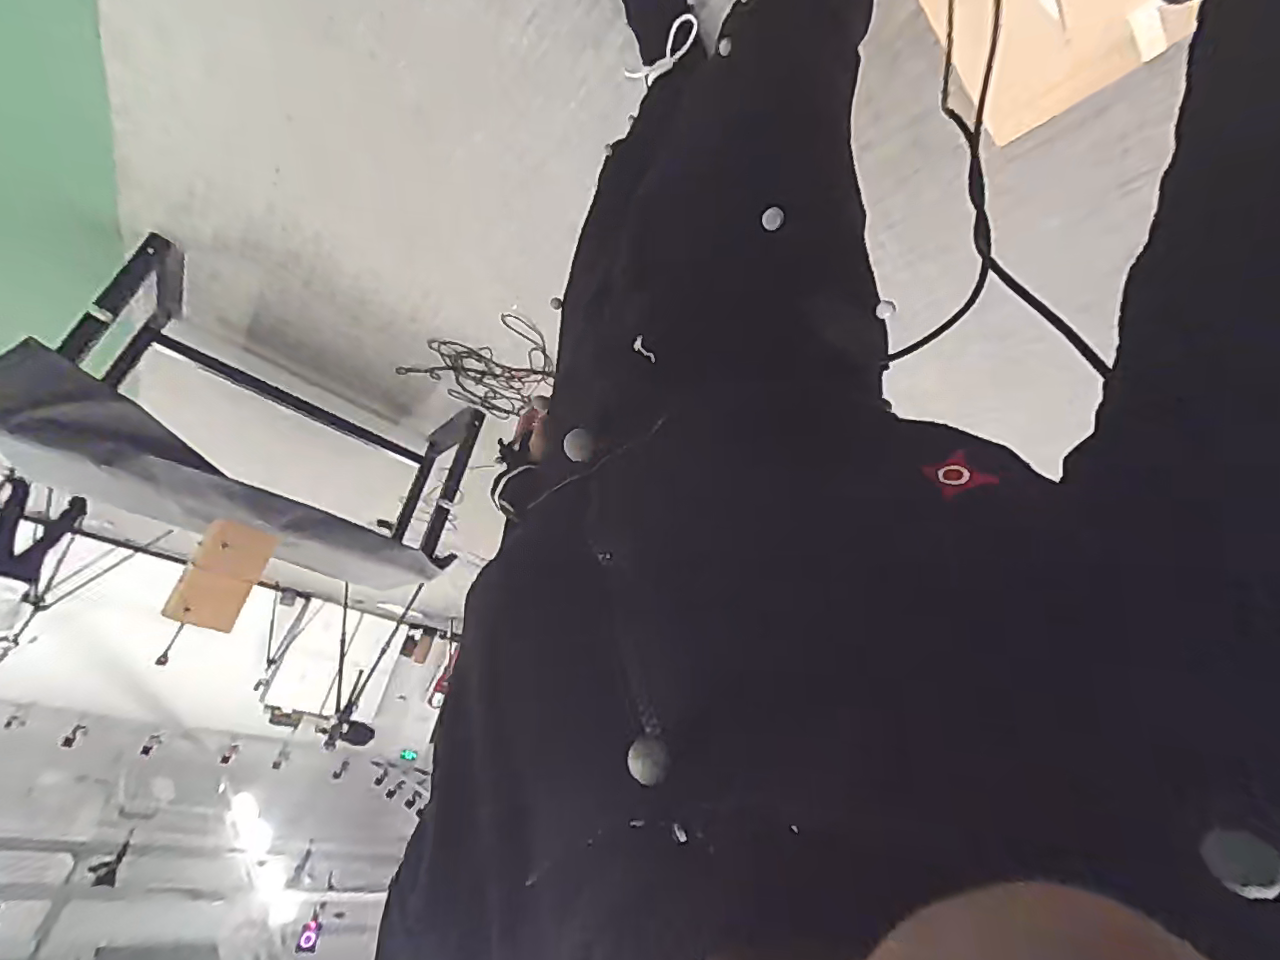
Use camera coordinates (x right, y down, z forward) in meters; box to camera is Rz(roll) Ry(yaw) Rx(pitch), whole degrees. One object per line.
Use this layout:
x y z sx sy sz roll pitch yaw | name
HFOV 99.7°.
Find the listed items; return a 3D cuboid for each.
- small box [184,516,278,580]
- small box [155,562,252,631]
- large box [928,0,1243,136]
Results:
-1.346 0.223 1.784 0.168 0.176 0.179 -9 149 41 | small box
-1.383 0.369 1.721 0.168 0.176 0.179 -9 147 41 | small box
0.455 -0.693 0.555 0.408 0.320 0.320 28 152 -32 | large box
